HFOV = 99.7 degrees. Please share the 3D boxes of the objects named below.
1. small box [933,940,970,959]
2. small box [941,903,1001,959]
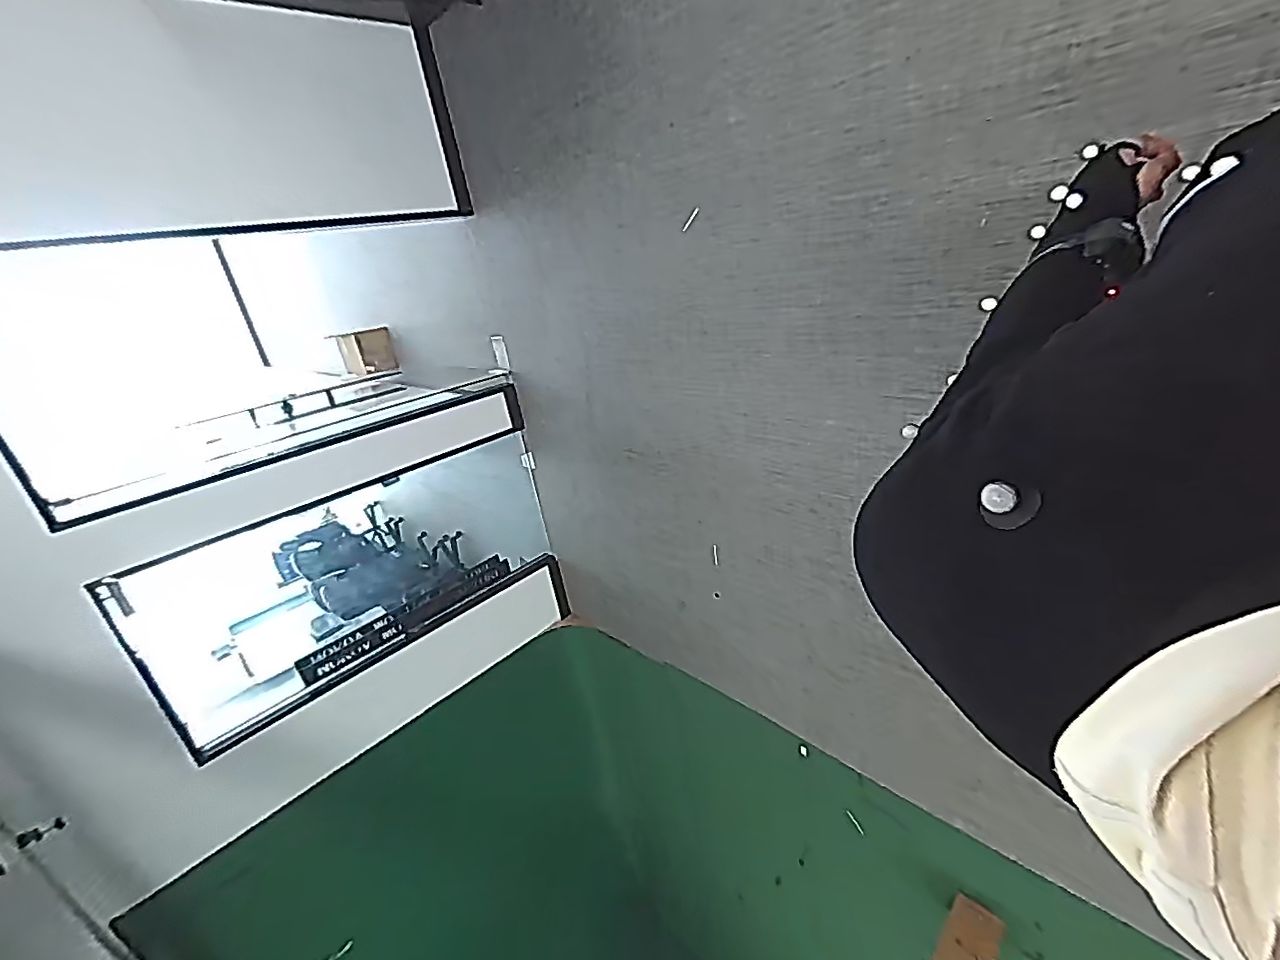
[{"bbox_3d":[1.177,1.890,2.019,0.168,0.176,0.179,18,124,43],"label":"small box"},{"bbox_3d":[1.293,1.832,2.120,0.168,0.176,0.179,17,122,43],"label":"small box"}]
